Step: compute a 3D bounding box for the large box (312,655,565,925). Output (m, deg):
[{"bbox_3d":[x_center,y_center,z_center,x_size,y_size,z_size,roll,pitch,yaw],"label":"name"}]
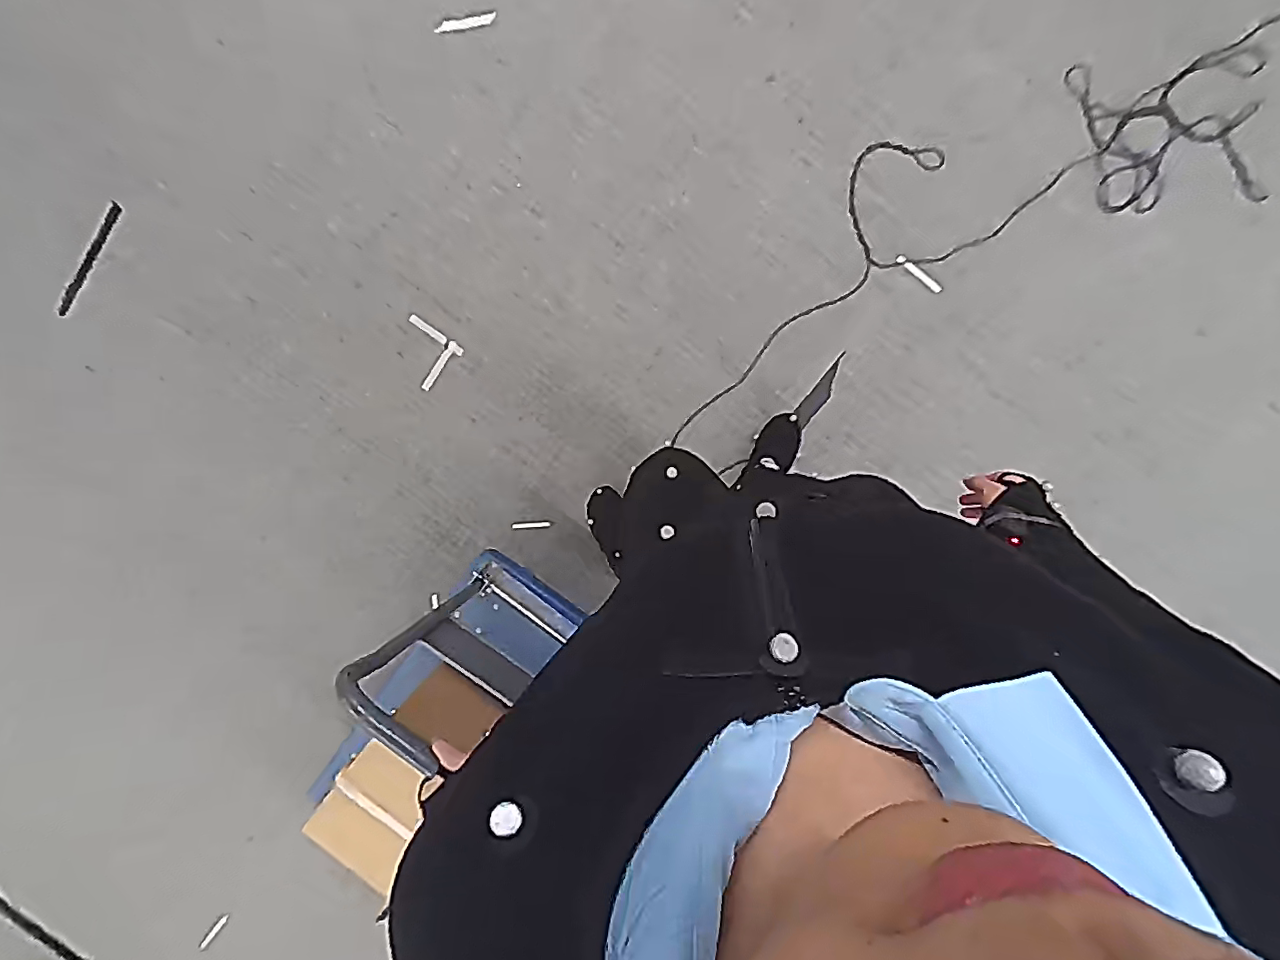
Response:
[{"bbox_3d":[-0.448,0.703,1.286,0.408,0.320,0.320,39,98,-1],"label":"large box"}]
